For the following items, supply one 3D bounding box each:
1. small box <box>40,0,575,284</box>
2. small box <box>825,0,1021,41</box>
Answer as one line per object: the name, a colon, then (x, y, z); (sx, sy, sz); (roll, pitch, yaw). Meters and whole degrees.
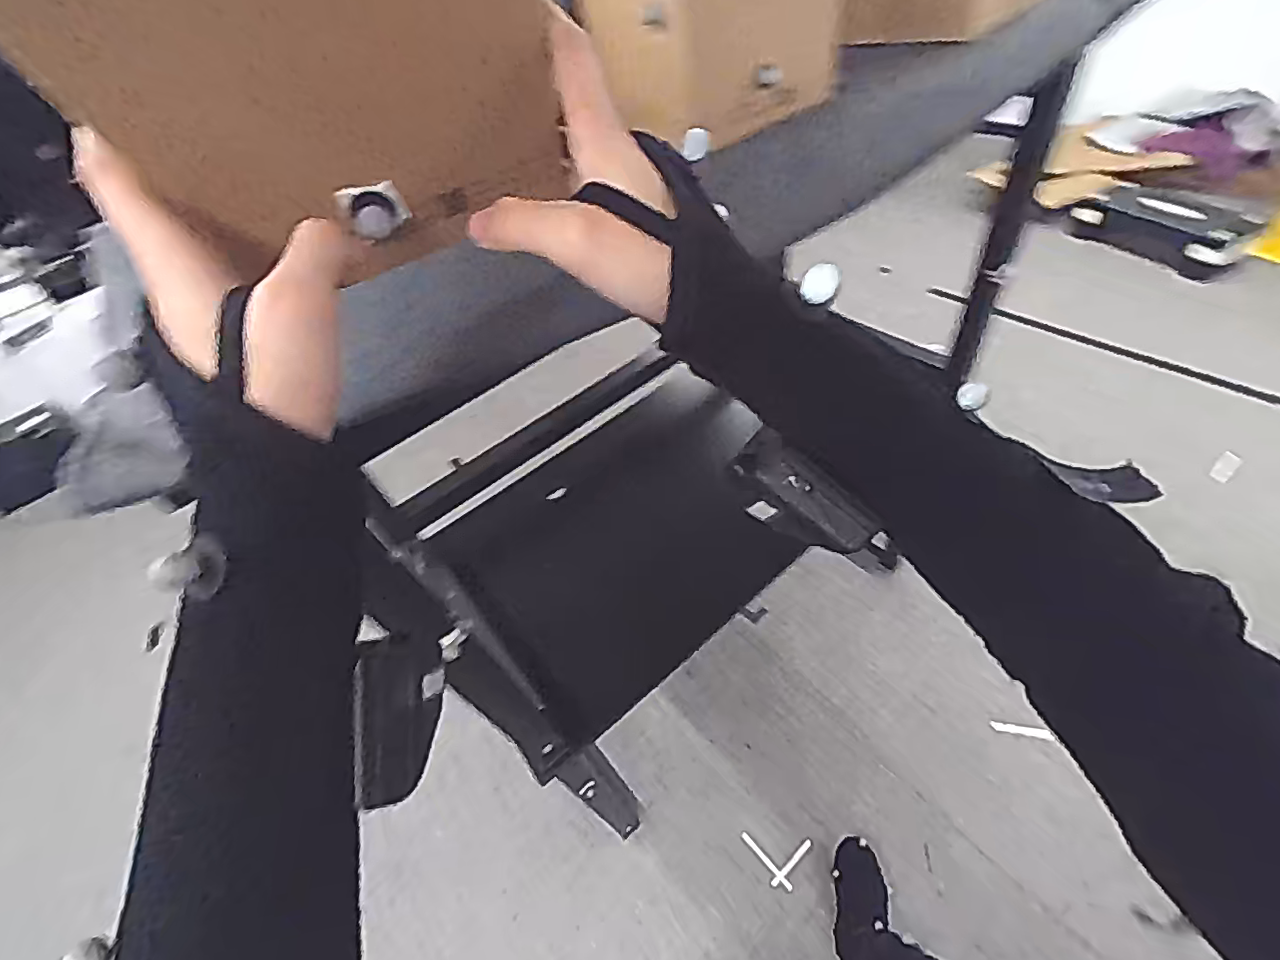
small box: (-0.142, -0.223, 0.227); (0.168, 0.176, 0.179); (-28, 74, -9)
small box: (0.326, -0.614, 0.602); (0.168, 0.176, 0.179); (-40, 52, -21)
